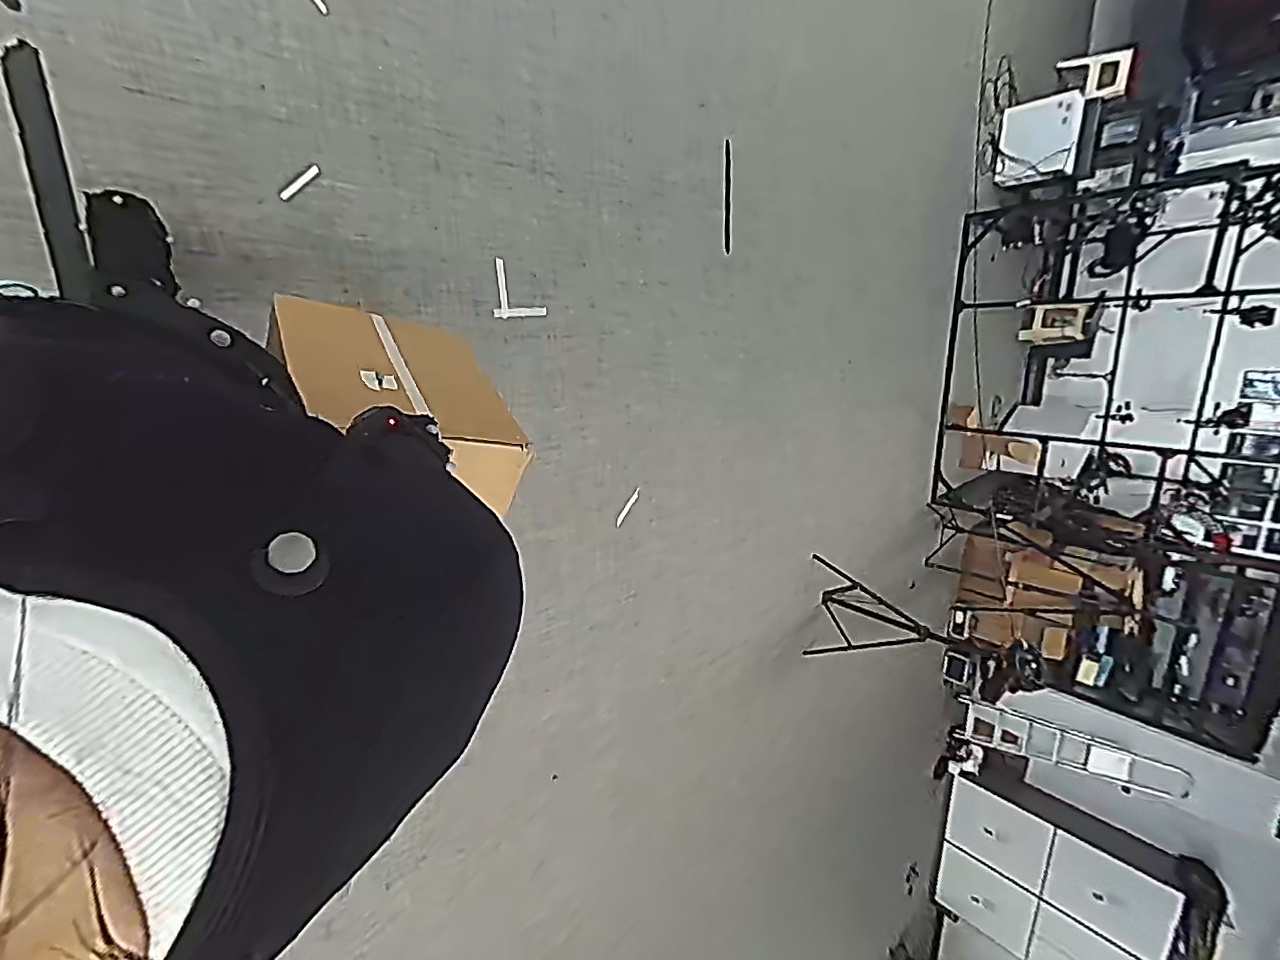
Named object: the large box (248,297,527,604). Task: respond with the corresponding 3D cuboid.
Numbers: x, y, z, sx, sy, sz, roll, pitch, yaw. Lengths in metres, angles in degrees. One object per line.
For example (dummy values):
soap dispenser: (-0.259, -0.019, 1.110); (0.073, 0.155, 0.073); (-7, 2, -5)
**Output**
large box: (-0.453, -0.052, 0.925); (0.320, 0.408, 0.320); (3, 126, -41)
